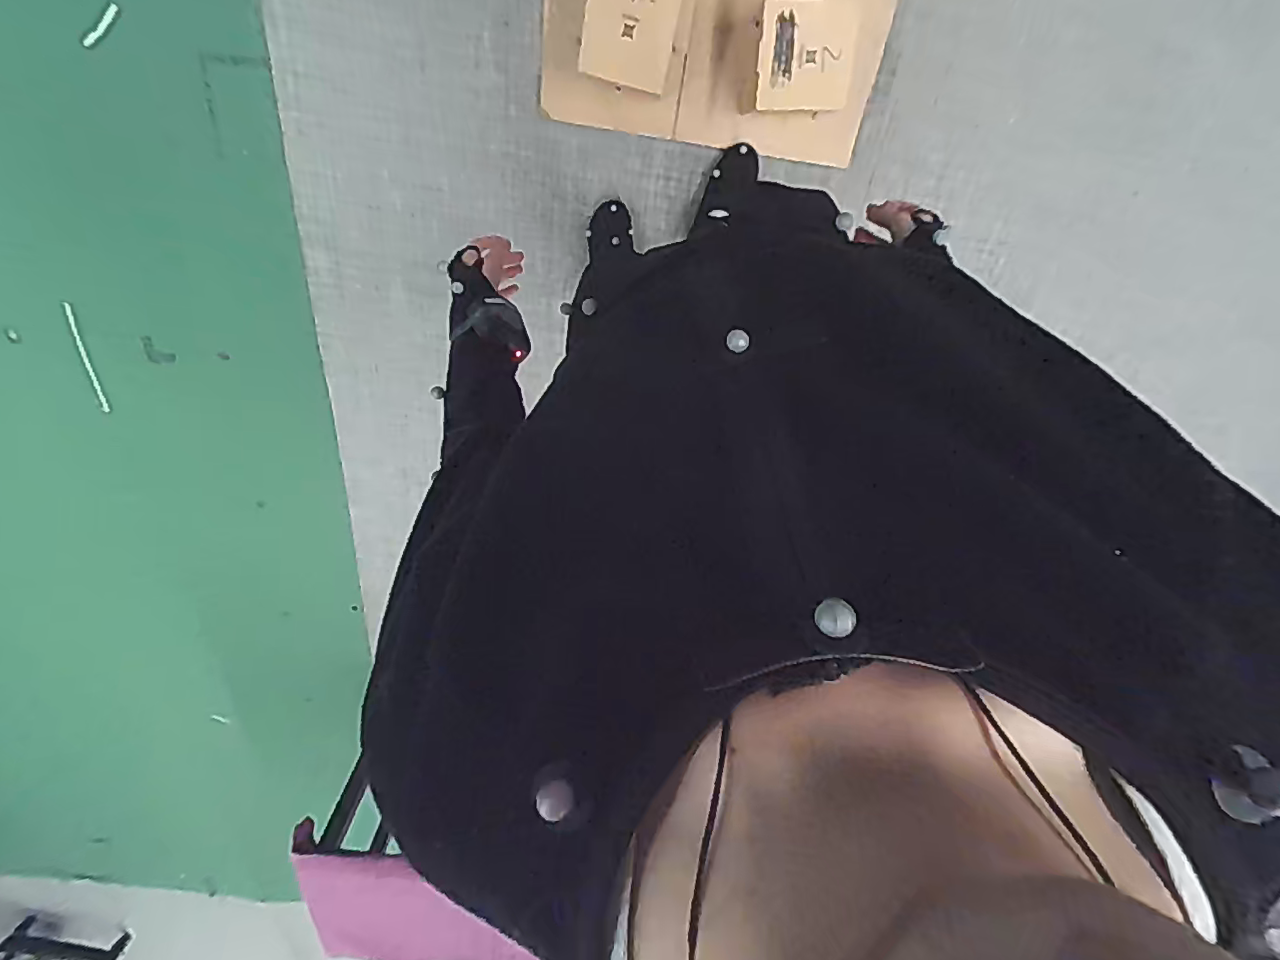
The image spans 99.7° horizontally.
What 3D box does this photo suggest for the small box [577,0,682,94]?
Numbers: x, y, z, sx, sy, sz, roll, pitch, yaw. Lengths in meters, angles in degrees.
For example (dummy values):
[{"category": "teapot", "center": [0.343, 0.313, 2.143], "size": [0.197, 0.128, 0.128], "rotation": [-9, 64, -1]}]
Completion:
[{"category": "small box", "center": [-0.016, -0.862, 1.030], "size": [0.168, 0.176, 0.179], "rotation": [12, 120, -7]}]
